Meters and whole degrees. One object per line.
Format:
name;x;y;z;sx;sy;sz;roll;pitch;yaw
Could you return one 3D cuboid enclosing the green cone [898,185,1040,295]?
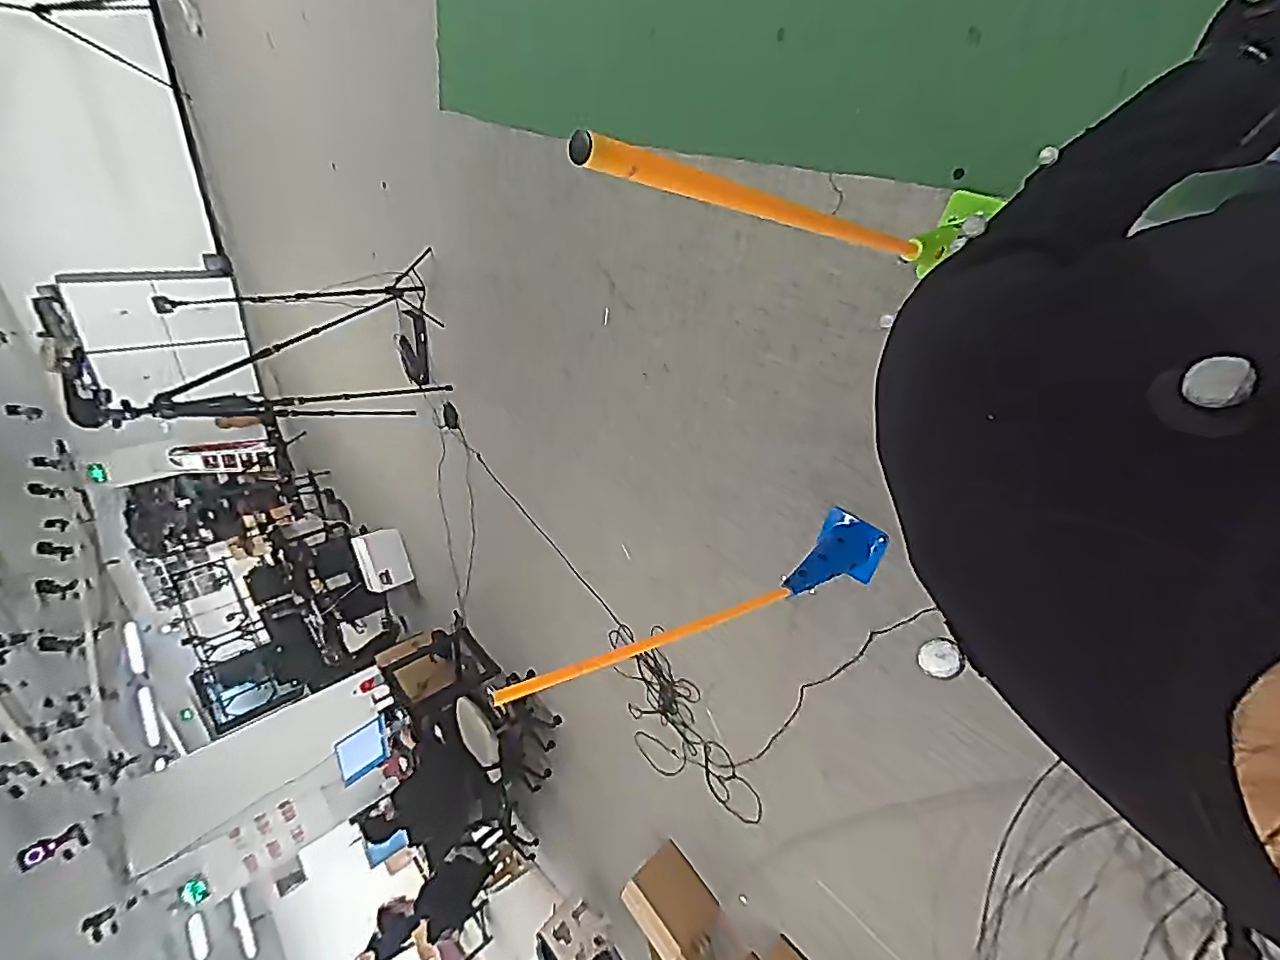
green cone;0.648;-0.508;1.141;0.202;0.368;0.200;39;132;33
